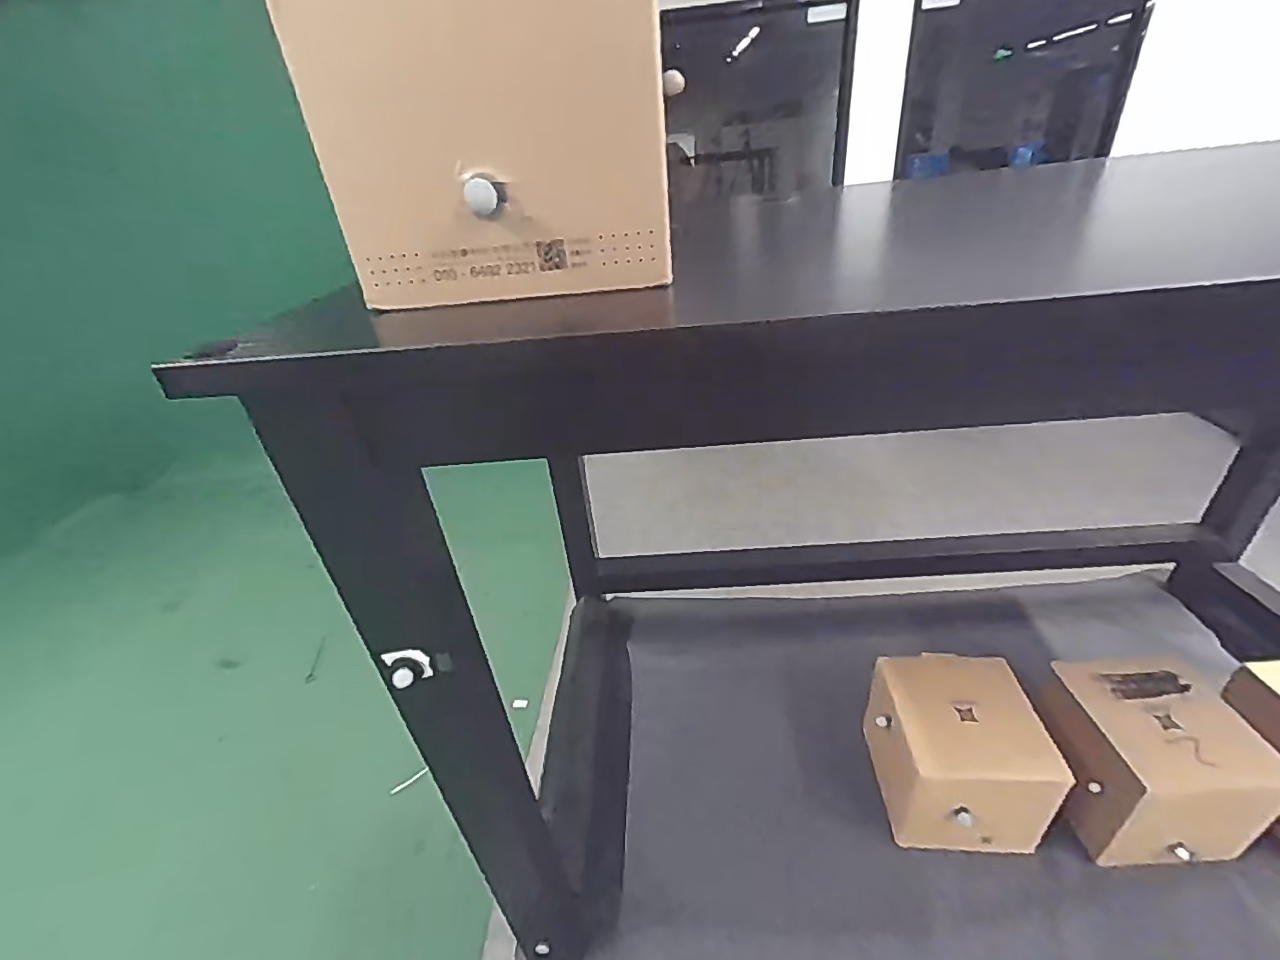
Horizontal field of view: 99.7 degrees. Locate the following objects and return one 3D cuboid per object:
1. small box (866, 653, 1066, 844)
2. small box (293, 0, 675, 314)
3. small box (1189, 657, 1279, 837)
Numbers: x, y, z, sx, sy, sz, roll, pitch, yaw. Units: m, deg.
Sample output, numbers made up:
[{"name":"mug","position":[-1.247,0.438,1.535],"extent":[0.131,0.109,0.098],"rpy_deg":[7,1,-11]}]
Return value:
[{"name":"small box","position":[0.415,0.357,0.726],"extent":[0.168,0.176,0.179],"rpy_deg":[-2,31,7]},{"name":"small box","position":[-0.067,-0.206,0.322],"extent":[0.168,0.176,0.179],"rpy_deg":[-4,32,3]},{"name":"small box","position":[0.859,0.340,0.664],"extent":[0.168,0.176,0.179],"rpy_deg":[-4,31,3]}]
